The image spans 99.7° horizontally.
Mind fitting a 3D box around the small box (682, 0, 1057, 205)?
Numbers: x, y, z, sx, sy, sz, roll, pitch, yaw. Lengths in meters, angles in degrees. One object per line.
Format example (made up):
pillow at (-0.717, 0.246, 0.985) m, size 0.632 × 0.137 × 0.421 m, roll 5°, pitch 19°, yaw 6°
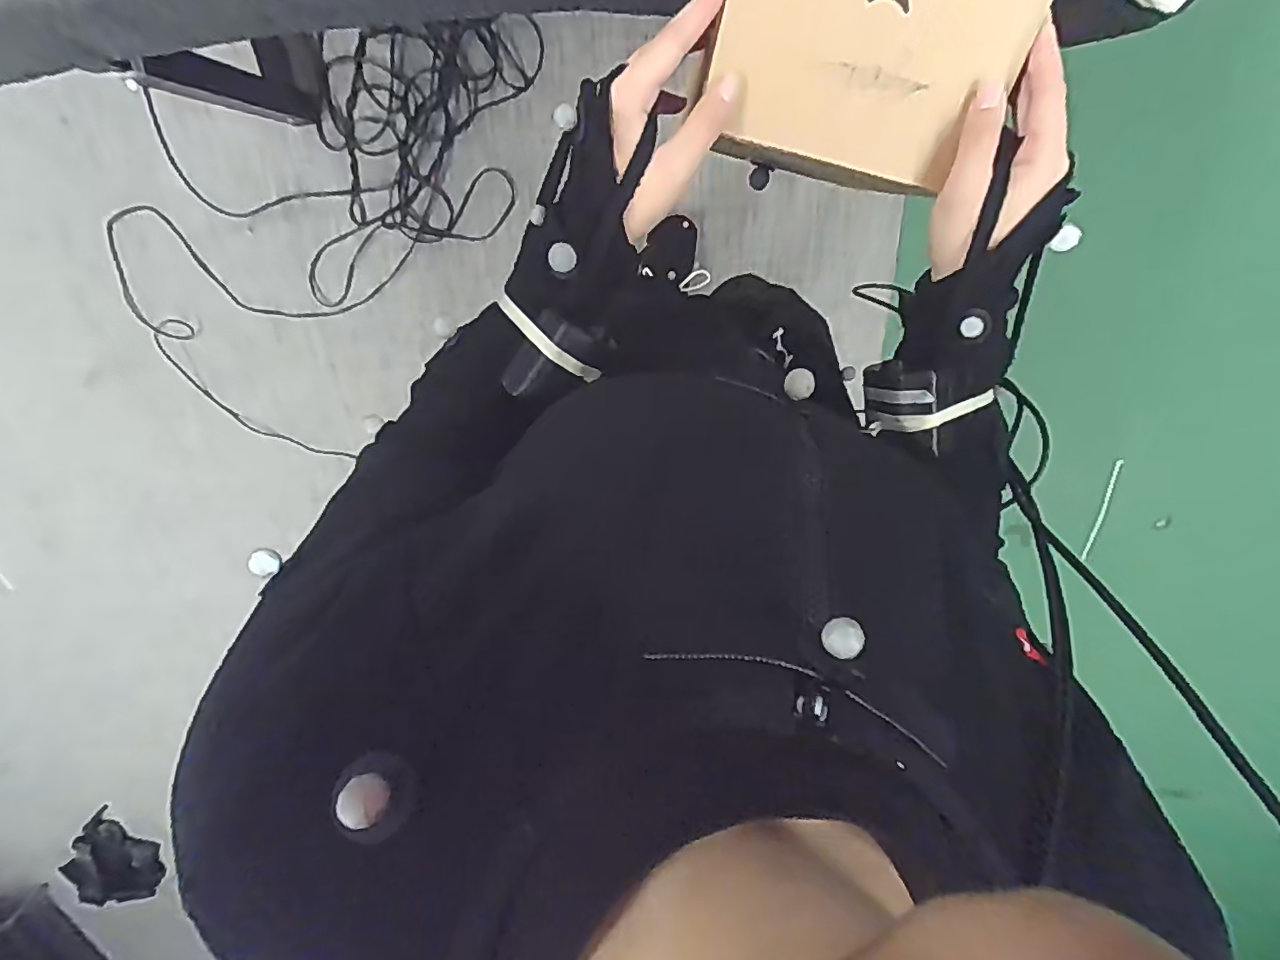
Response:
small box at (0.127, -0.289, 0.335) m, size 0.168 × 0.176 × 0.179 m, roll 11°, pitch 120°, yaw -6°
